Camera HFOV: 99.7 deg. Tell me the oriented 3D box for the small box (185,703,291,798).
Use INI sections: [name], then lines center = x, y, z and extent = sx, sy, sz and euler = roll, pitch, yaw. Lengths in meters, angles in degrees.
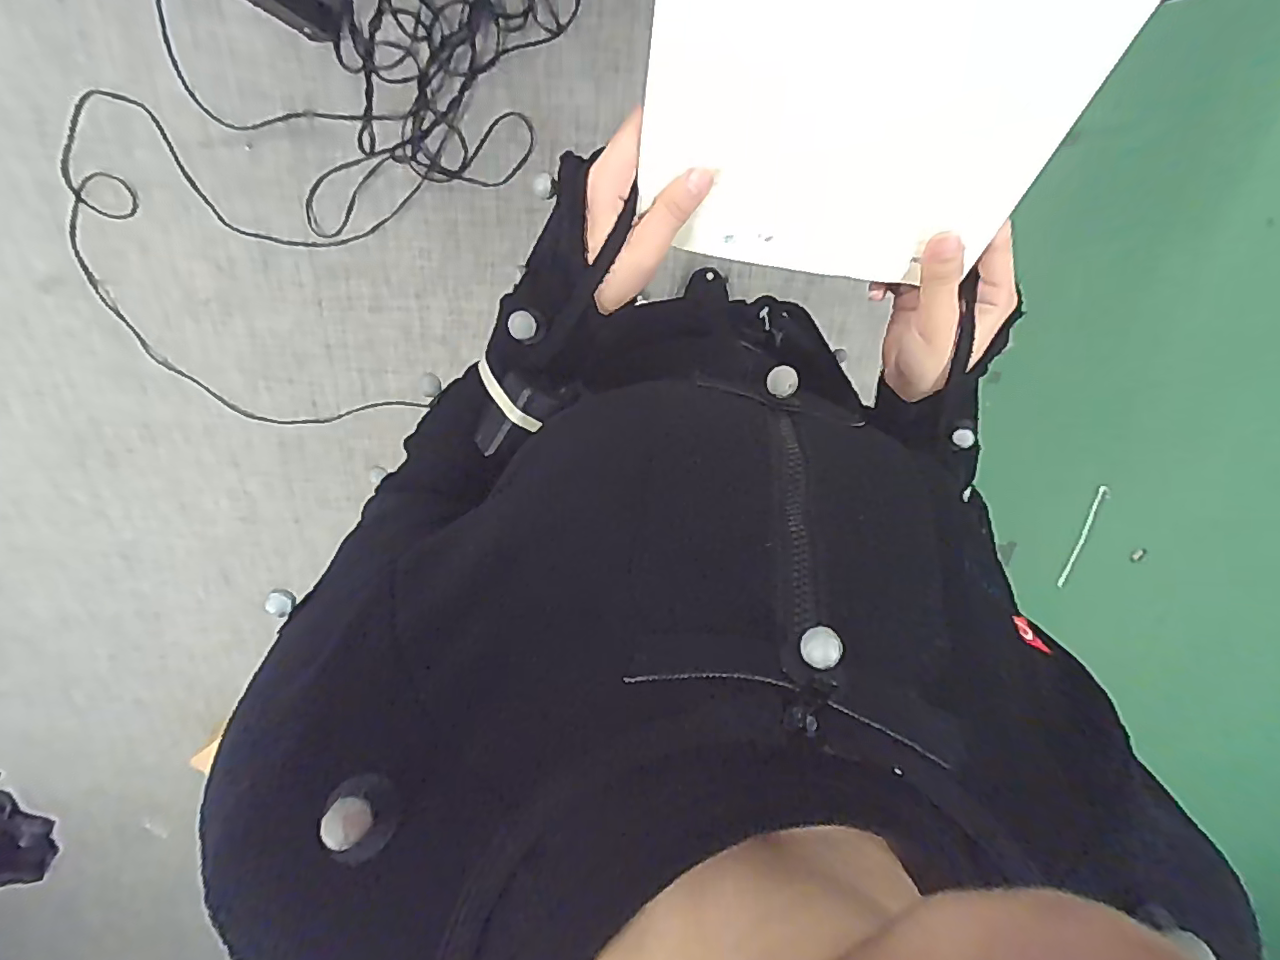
[small box]
center = -1.240, 0.839, 1.684
extent = 0.179, 0.176, 0.168
euler = -38, 109, 14
